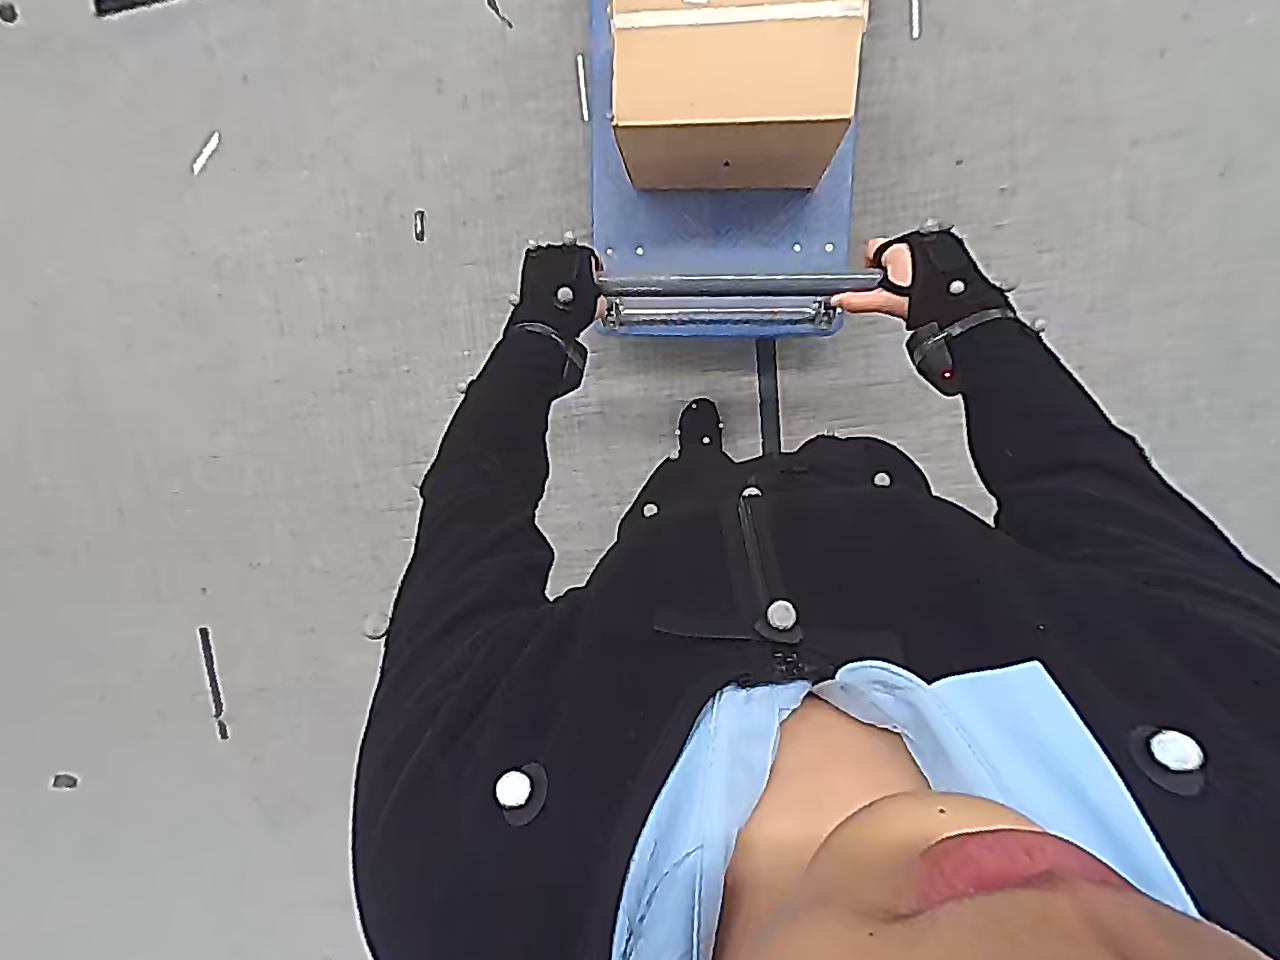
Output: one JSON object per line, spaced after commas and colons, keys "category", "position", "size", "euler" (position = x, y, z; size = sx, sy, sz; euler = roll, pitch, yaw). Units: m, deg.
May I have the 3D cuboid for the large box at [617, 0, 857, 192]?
{"category": "large box", "position": [0.178, -0.782, 1.051], "size": [0.408, 0.320, 0.320], "euler": [2, 99, 8]}
